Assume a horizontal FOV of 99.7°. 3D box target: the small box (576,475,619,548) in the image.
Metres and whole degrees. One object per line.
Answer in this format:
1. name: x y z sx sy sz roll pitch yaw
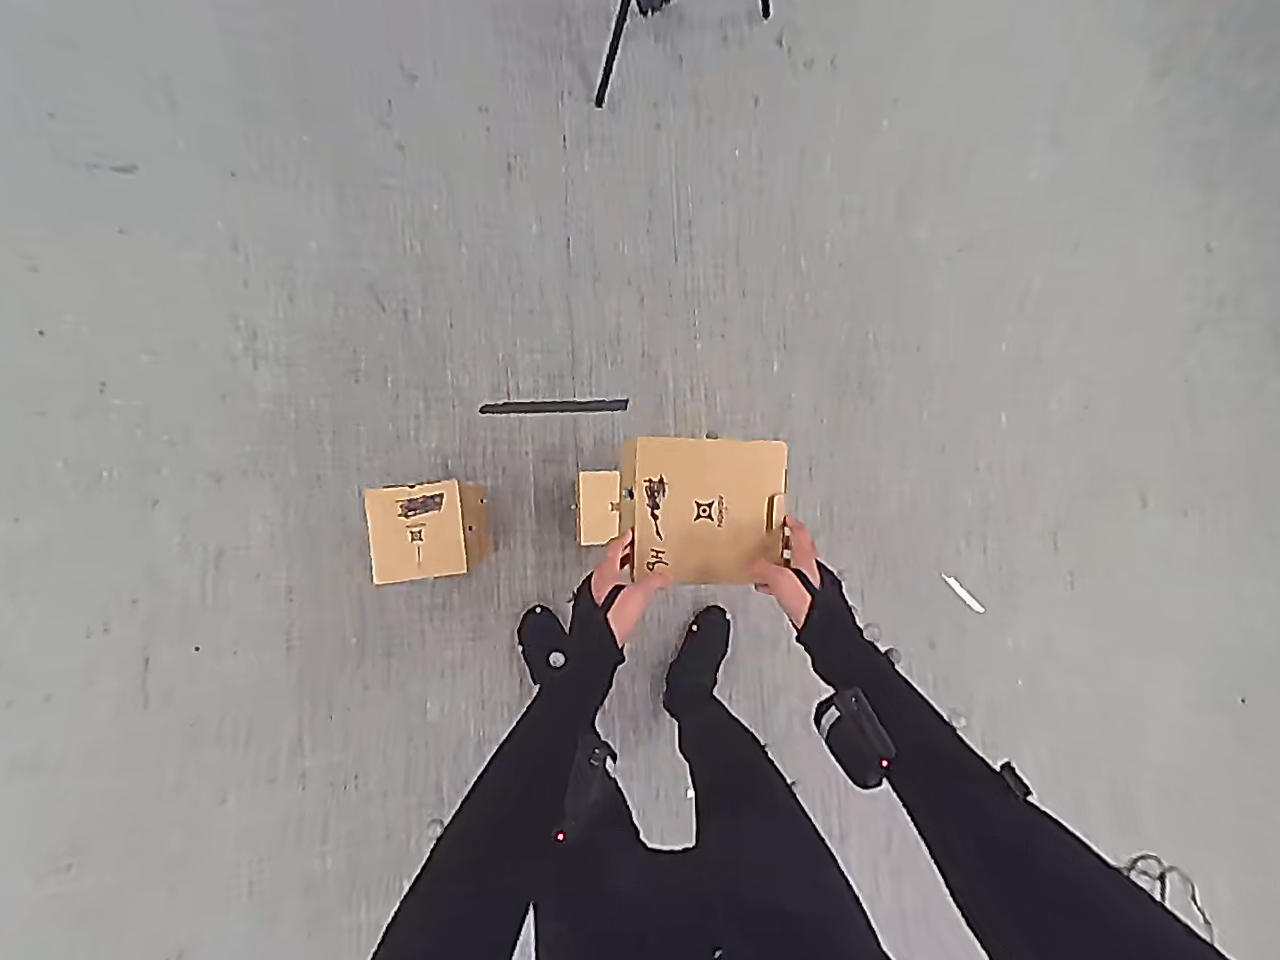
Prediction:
1. small box: -0.063 0.077 1.296 0.179 0.176 0.168 -1 86 -11

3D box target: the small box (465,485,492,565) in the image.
1. small box: -0.437 0.112 1.229 0.168 0.176 0.179 -8 88 -10

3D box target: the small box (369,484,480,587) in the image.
1. small box: -0.417 0.106 1.067 0.168 0.176 0.179 -6 88 -9

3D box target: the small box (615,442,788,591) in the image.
1. small box: 0.067 0.039 0.680 0.179 0.176 0.168 2 91 -8
